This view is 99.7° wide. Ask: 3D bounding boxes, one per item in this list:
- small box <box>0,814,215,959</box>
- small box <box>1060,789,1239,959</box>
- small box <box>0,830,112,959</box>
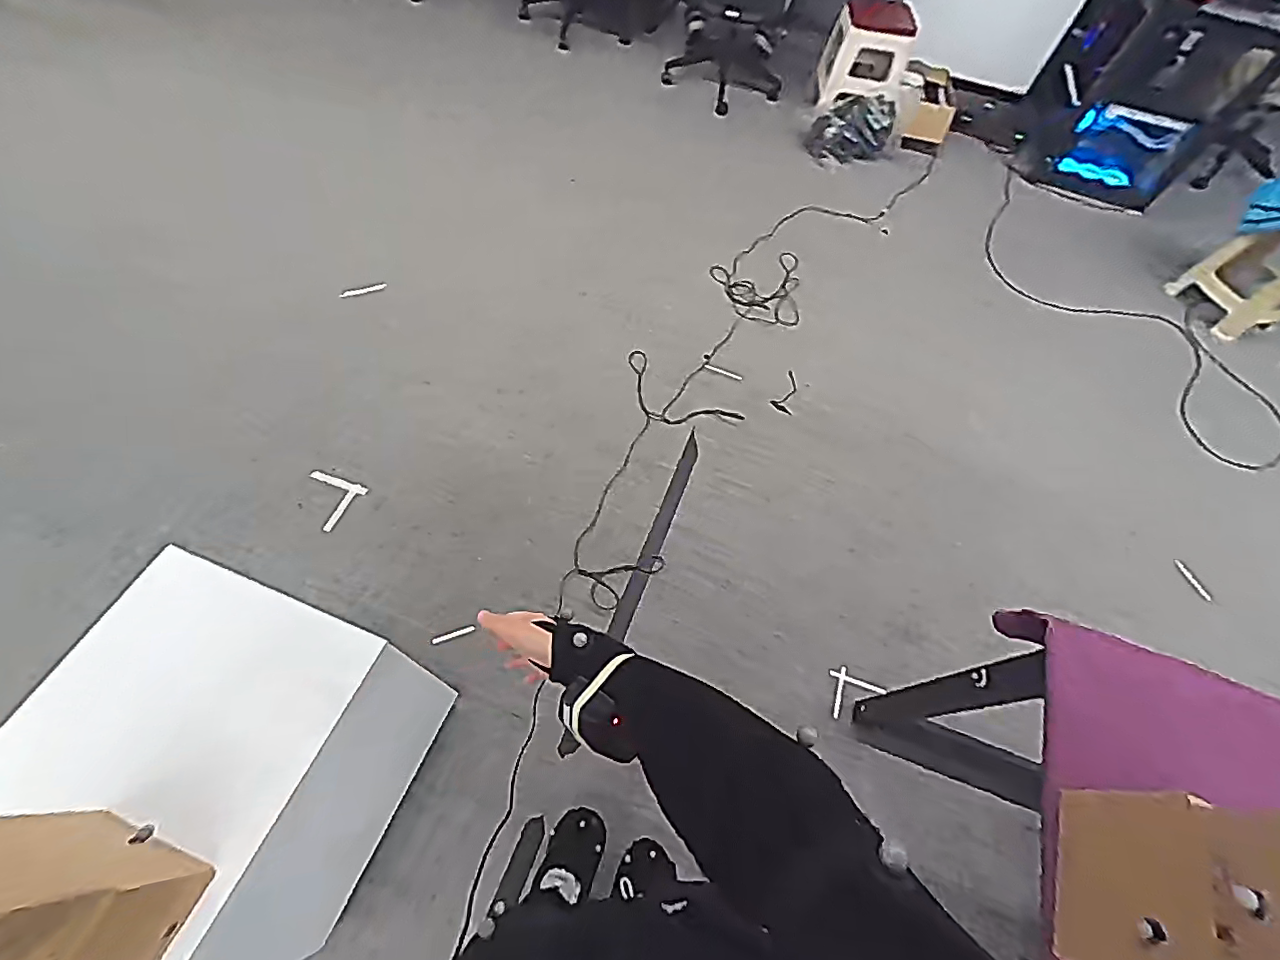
[{"bbox_3d":[-0.618,0.476,0.567,0.179,0.176,0.168,21,60,7],"label":"small box"},{"bbox_3d":[0.572,0.443,0.551,0.168,0.176,0.179,24,61,7],"label":"small box"},{"bbox_3d":[-0.601,0.396,0.426,0.179,0.176,0.168,20,61,6],"label":"small box"}]
